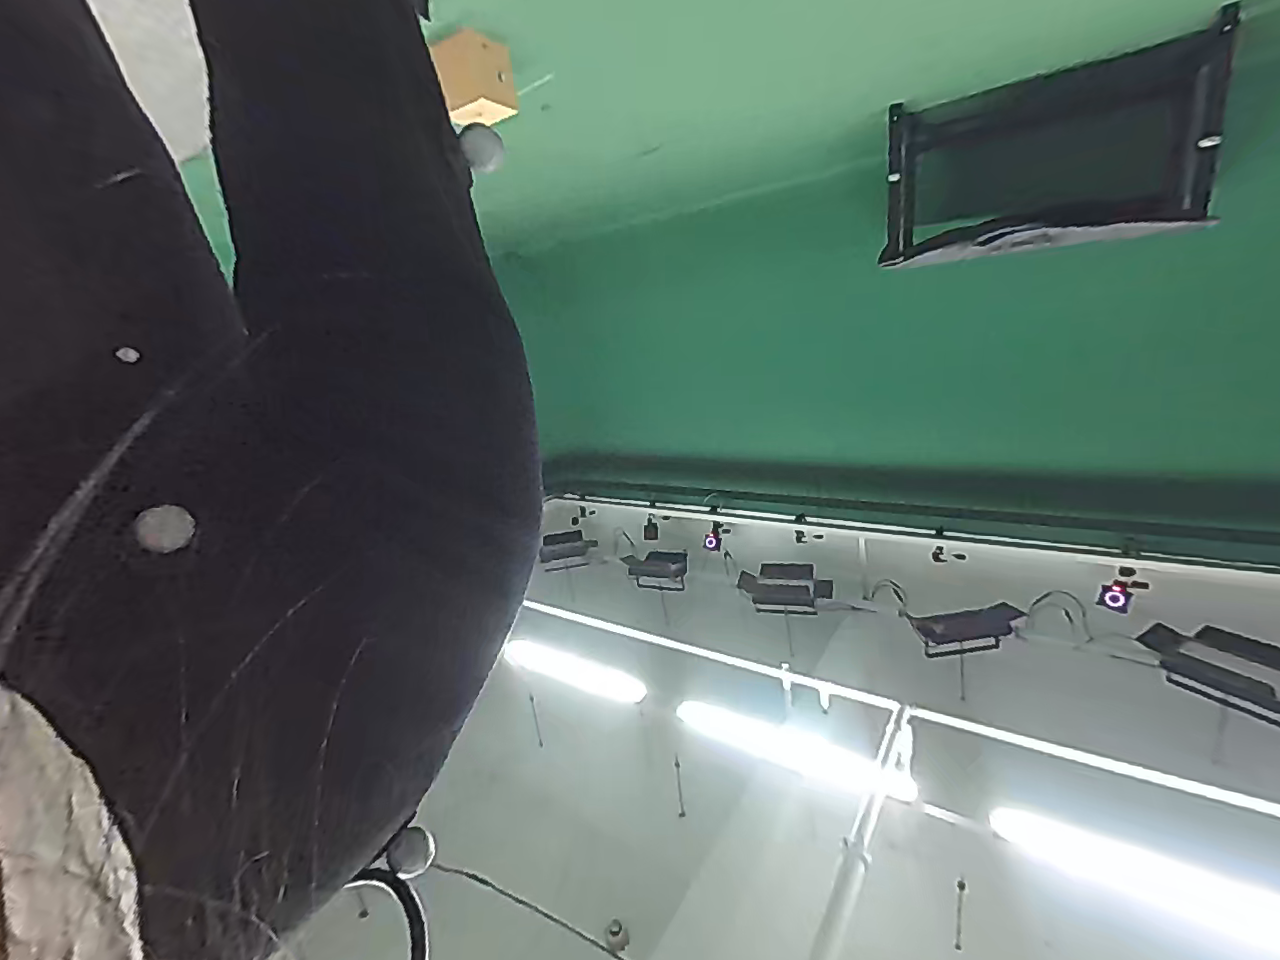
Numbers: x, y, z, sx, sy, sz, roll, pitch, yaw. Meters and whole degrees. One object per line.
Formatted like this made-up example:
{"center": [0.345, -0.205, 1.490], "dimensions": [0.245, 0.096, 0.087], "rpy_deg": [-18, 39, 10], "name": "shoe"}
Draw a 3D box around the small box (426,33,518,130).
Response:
{"center": [-0.489, -1.152, 1.569], "dimensions": [0.179, 0.176, 0.168], "rpy_deg": [1, -160, 29], "name": "small box"}
